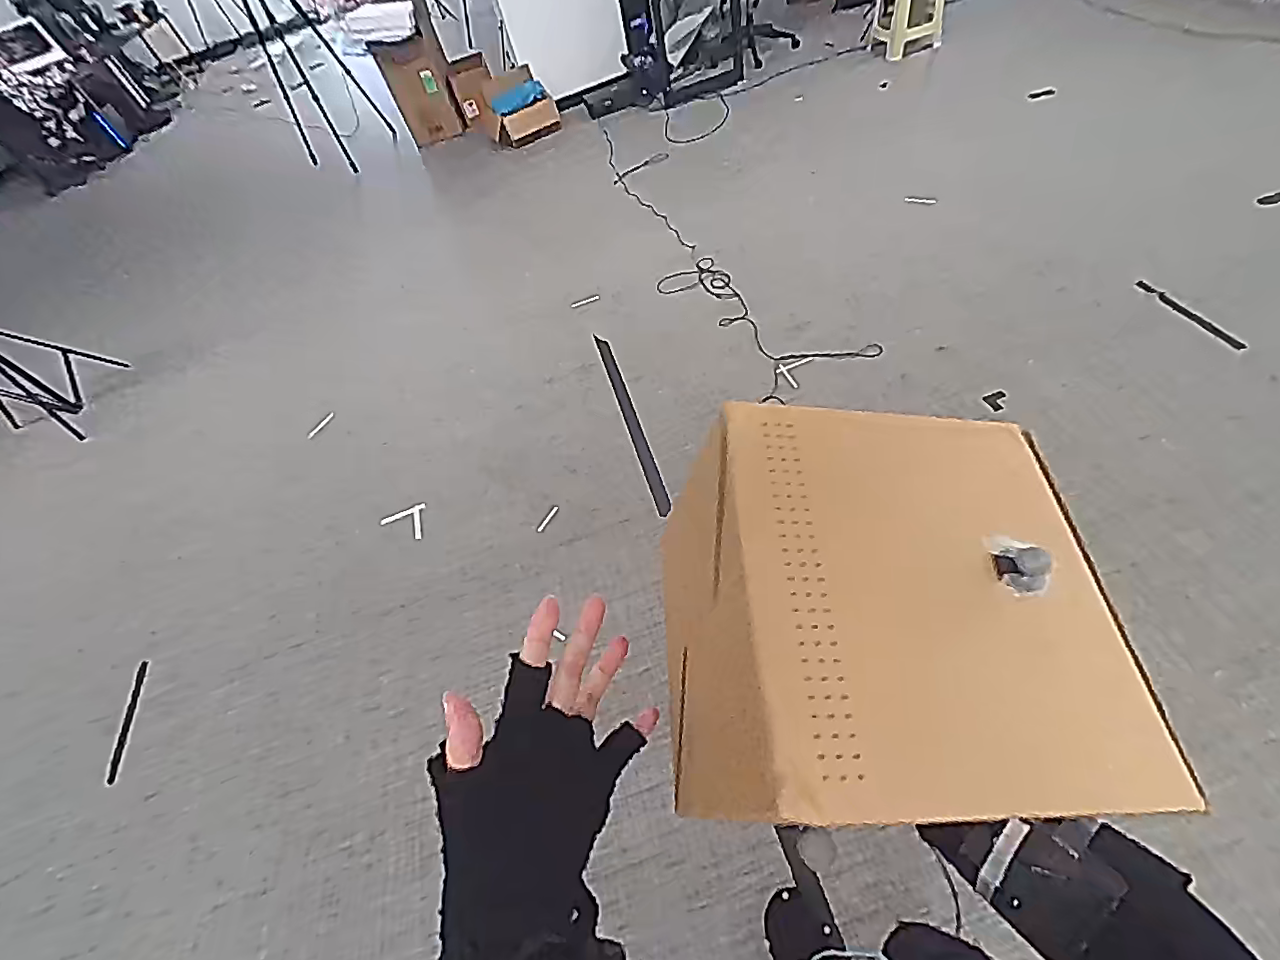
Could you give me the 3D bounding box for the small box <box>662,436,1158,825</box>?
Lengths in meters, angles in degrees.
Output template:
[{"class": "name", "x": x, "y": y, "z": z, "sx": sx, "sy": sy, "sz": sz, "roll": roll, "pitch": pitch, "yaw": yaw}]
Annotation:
[{"class": "small box", "x": 0.108, "y": 0.089, "z": 0.309, "sx": 0.176, "sy": 0.168, "sz": 0.179, "roll": 4, "pitch": 59, "yaw": -8}]
